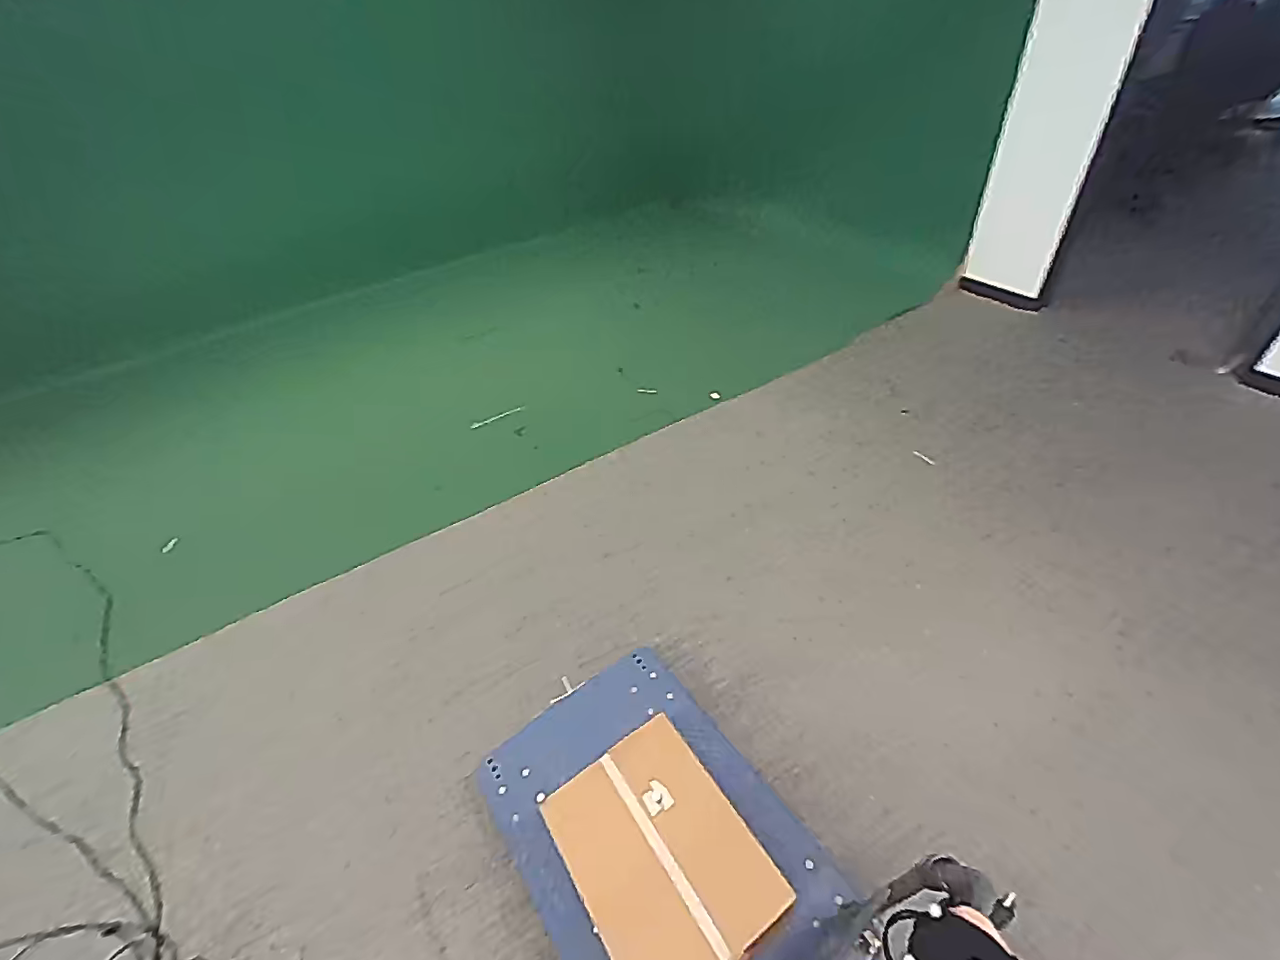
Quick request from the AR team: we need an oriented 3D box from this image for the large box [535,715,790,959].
[{"bbox_3d":[0.045,0.786,1.095,0.320,0.320,0.408,-28,46,-20],"label":"large box"}]
